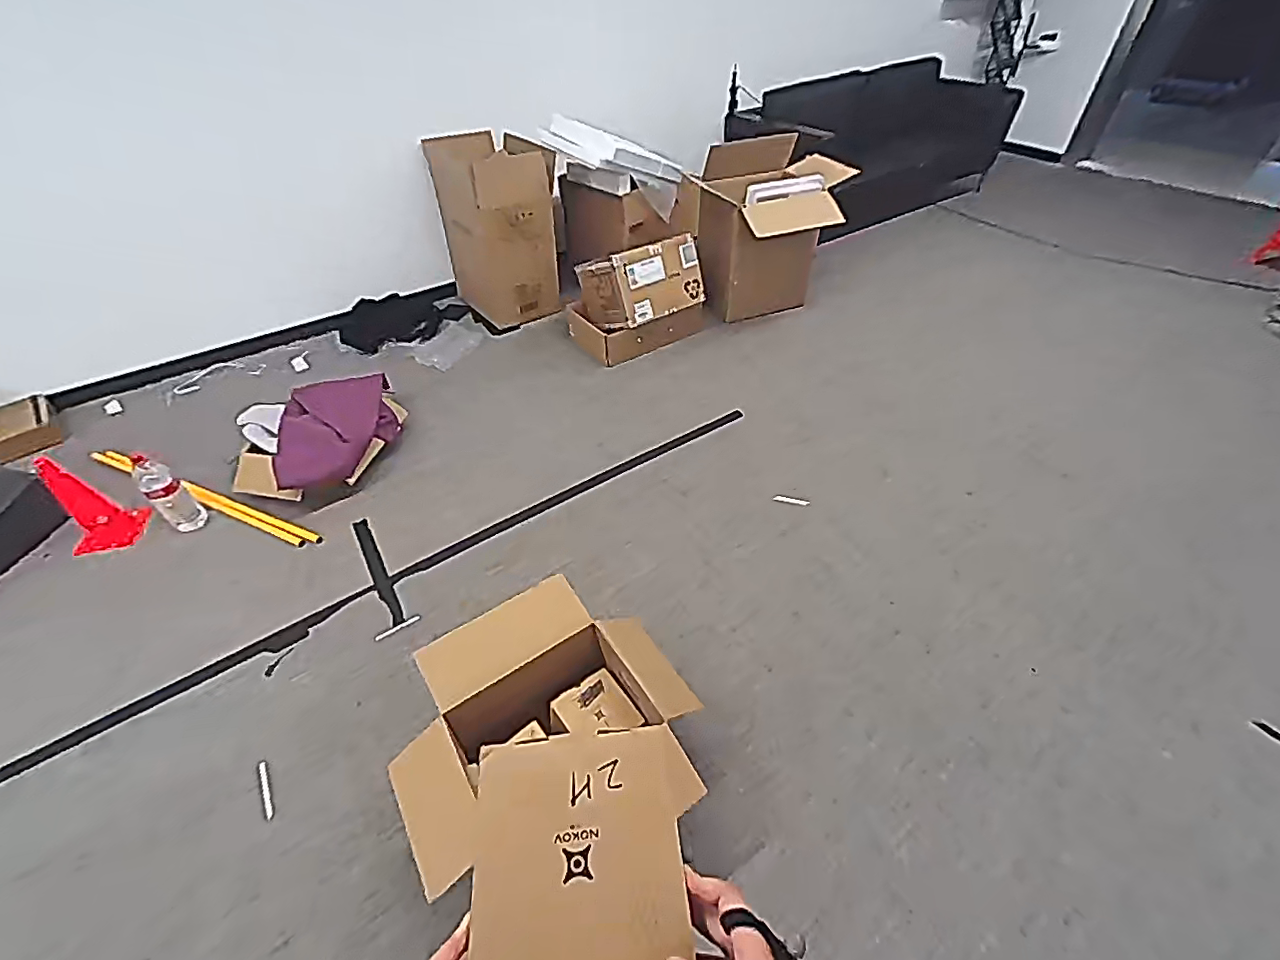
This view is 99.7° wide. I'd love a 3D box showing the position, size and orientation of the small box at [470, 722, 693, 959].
[{"bbox_3d":[-0.050,0.343,0.497,0.168,0.176,0.179,-4,52,-6],"label":"small box"}]
